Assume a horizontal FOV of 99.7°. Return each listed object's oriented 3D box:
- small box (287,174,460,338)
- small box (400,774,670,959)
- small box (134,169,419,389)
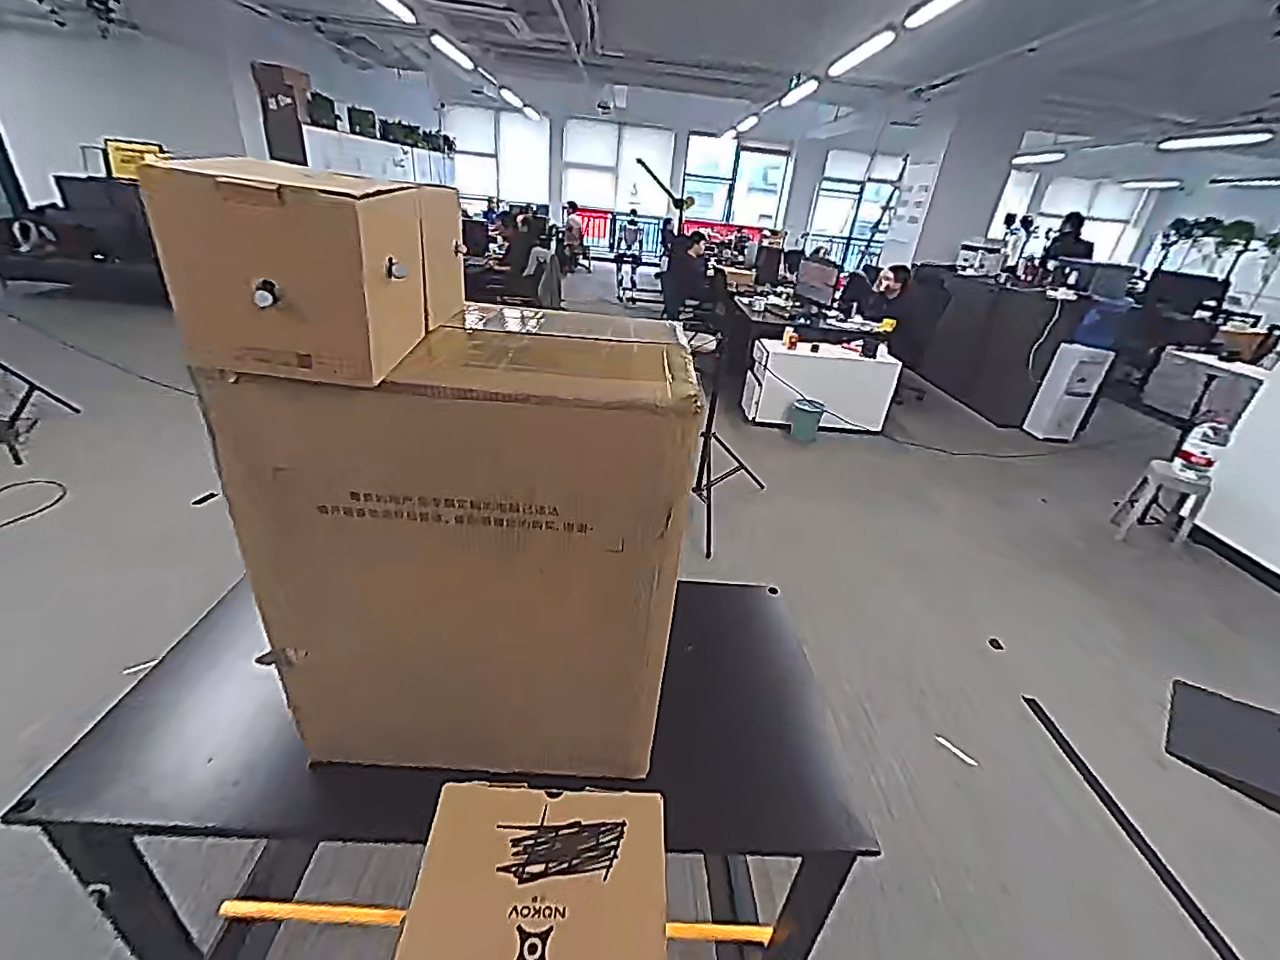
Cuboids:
[{"bbox_3d":[-0.341,-0.293,0.710,0.168,0.176,0.179,3,27,-4],"label":"small box"},{"bbox_3d":[-0.071,0.345,0.391,0.168,0.176,0.179,4,36,-3],"label":"small box"},{"bbox_3d":[-0.329,-0.201,0.540,0.168,0.176,0.179,5,30,-7],"label":"small box"}]
